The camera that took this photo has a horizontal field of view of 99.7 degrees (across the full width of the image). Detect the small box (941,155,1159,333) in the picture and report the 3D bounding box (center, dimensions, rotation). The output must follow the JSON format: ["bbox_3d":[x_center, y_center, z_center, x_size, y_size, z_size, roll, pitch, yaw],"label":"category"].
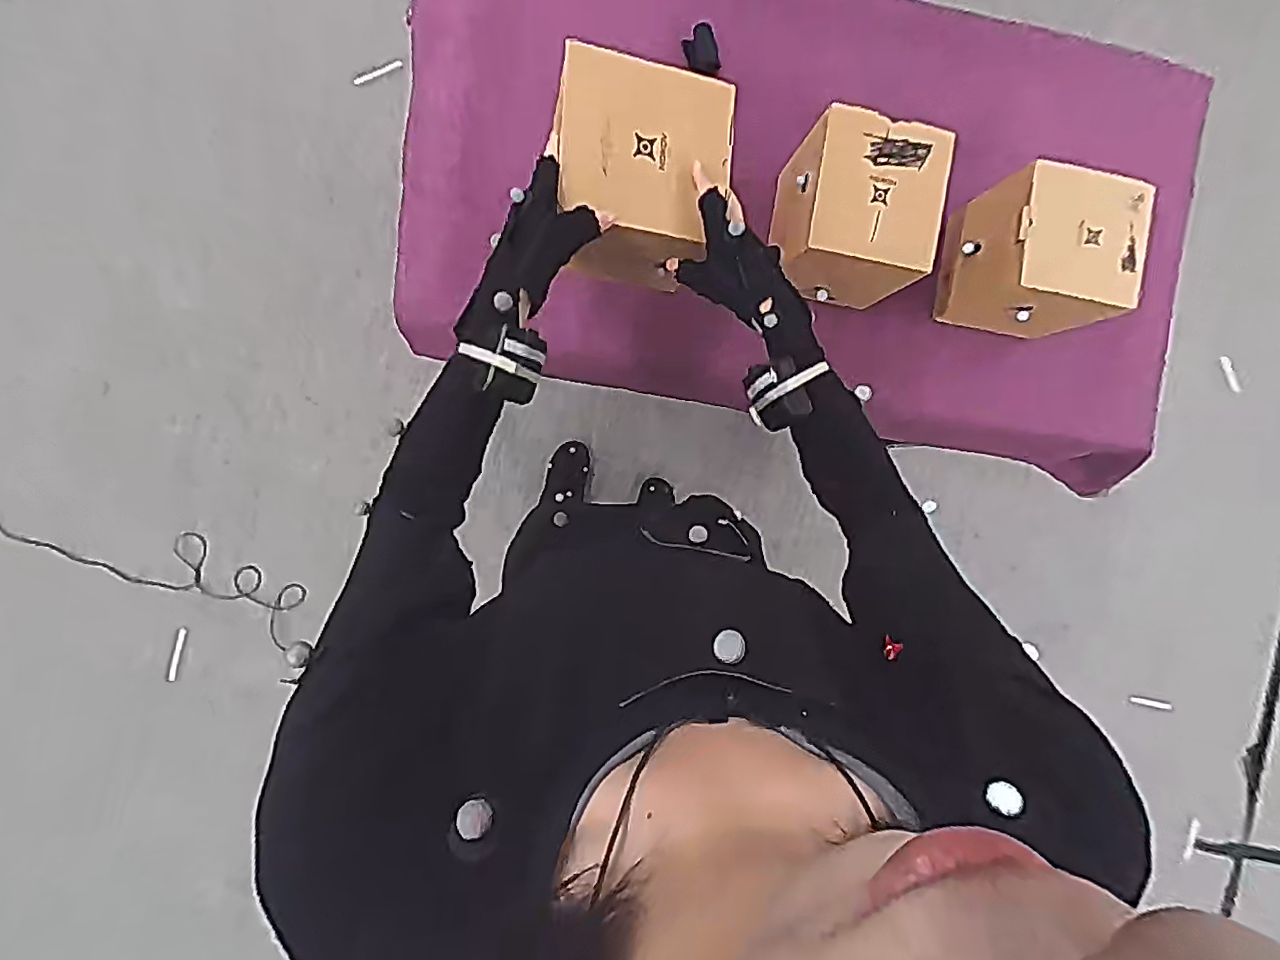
[{"bbox_3d":[0.564,-0.319,0.767,0.179,0.176,0.168,8,90,-6],"label":"small box"}]

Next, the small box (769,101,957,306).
[{"bbox_3d":[0.288,-0.359,0.735,0.168,0.176,0.179,9,91,-6],"label":"small box"}]

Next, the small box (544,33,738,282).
[{"bbox_3d":[-0.009,-0.337,0.609,0.179,0.176,0.168,4,91,-13],"label":"small box"}]
